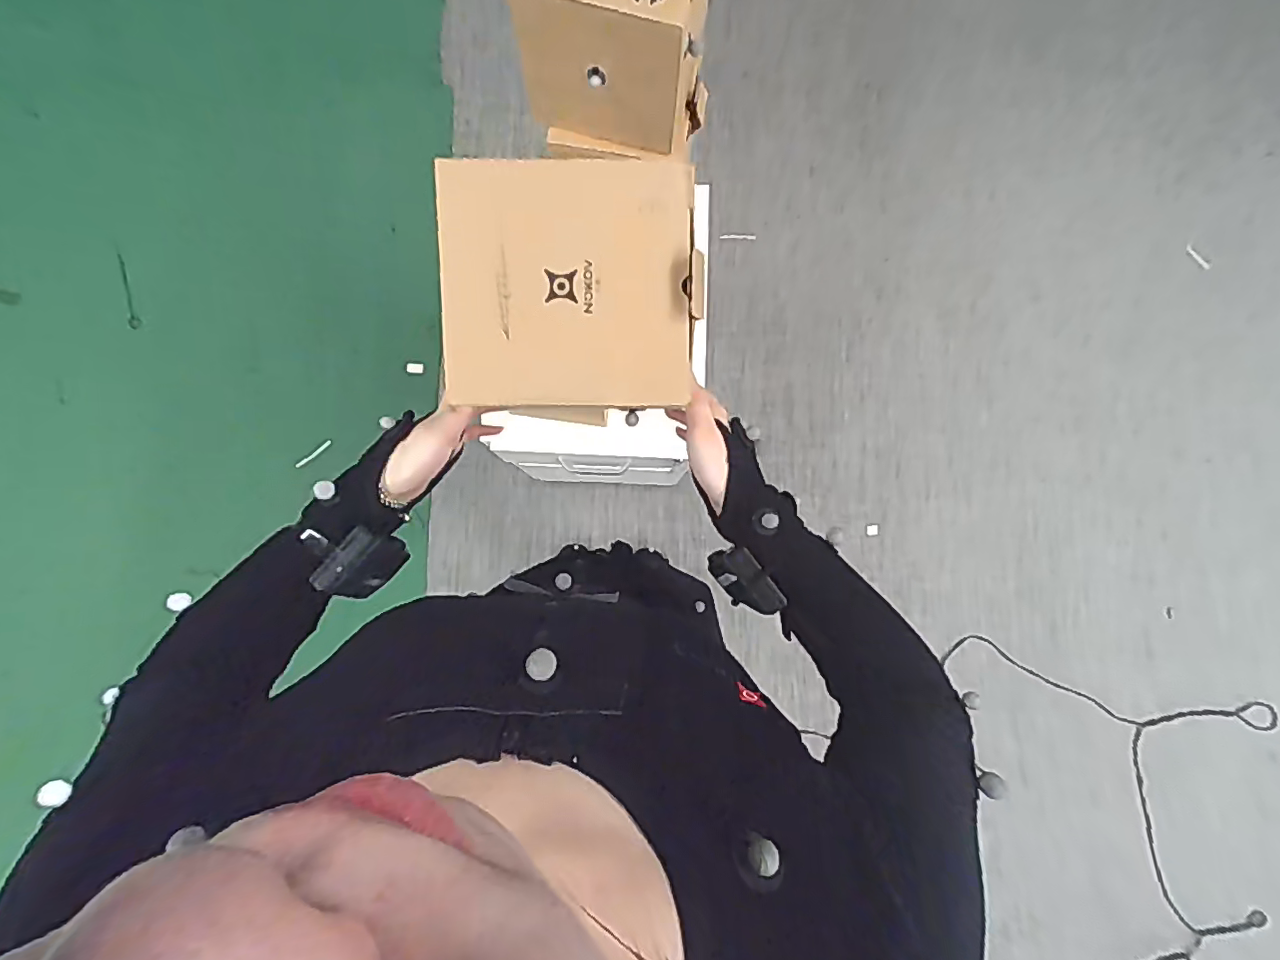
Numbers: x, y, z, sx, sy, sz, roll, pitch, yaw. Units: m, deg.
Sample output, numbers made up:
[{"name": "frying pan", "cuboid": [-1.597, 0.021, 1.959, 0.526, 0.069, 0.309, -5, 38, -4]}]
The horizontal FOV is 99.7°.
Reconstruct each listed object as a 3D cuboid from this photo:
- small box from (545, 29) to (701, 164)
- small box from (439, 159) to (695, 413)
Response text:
[{"name": "small box", "cuboid": [-0.021, -0.471, 0.755, 0.179, 0.176, 0.168, 9, 83, 0]}, {"name": "small box", "cuboid": [-0.050, -0.143, 0.453, 0.179, 0.176, 0.168, -1, 95, 0]}]
